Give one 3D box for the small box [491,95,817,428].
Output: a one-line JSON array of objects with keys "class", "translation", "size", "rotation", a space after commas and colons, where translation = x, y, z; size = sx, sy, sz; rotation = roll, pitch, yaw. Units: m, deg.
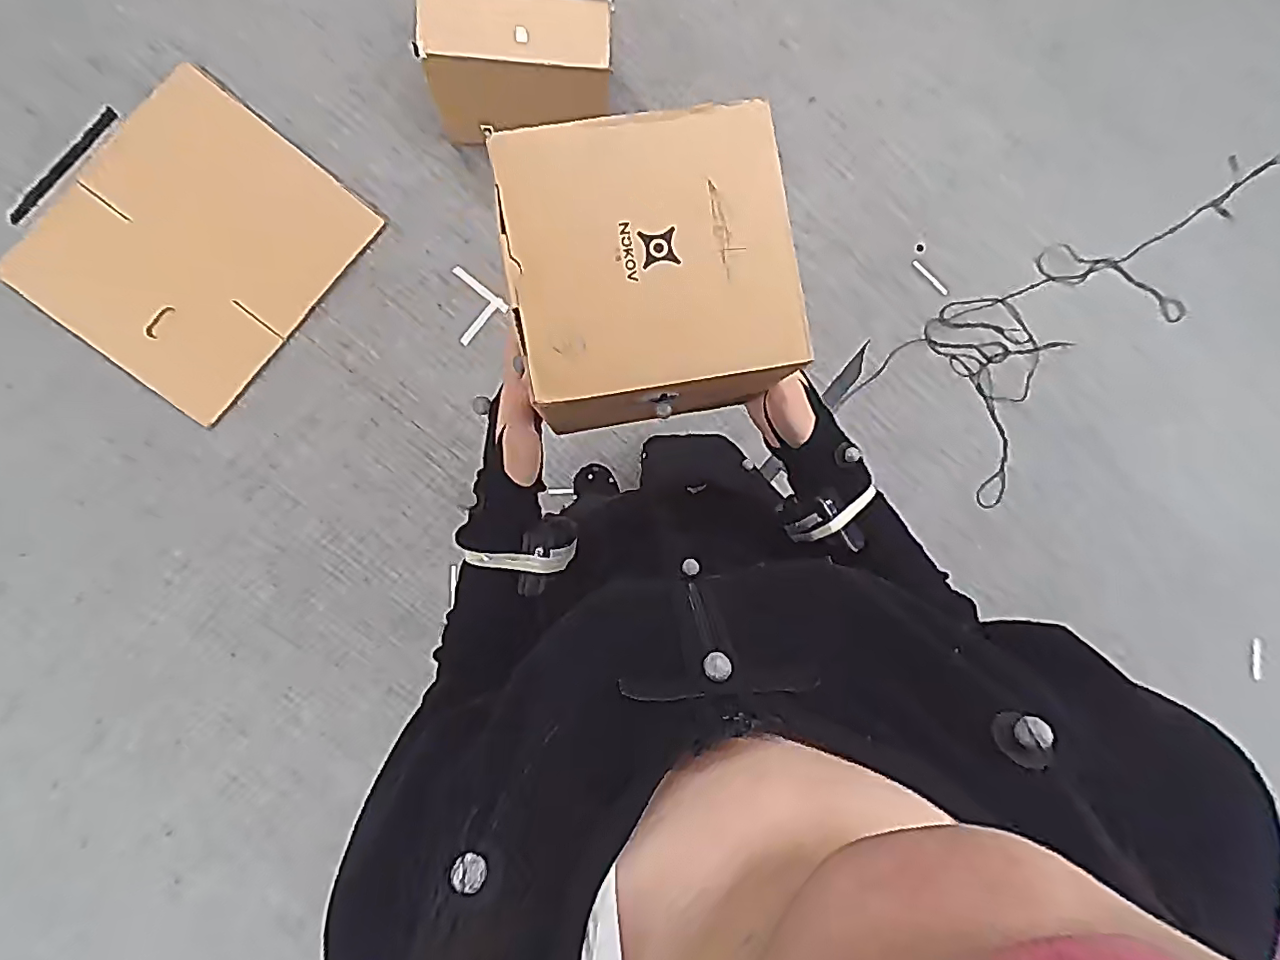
[{"class": "small box", "translation": [0.005, -0.139, 0.403], "size": [0.179, 0.176, 0.168], "rotation": [-11, 90, -4]}]
